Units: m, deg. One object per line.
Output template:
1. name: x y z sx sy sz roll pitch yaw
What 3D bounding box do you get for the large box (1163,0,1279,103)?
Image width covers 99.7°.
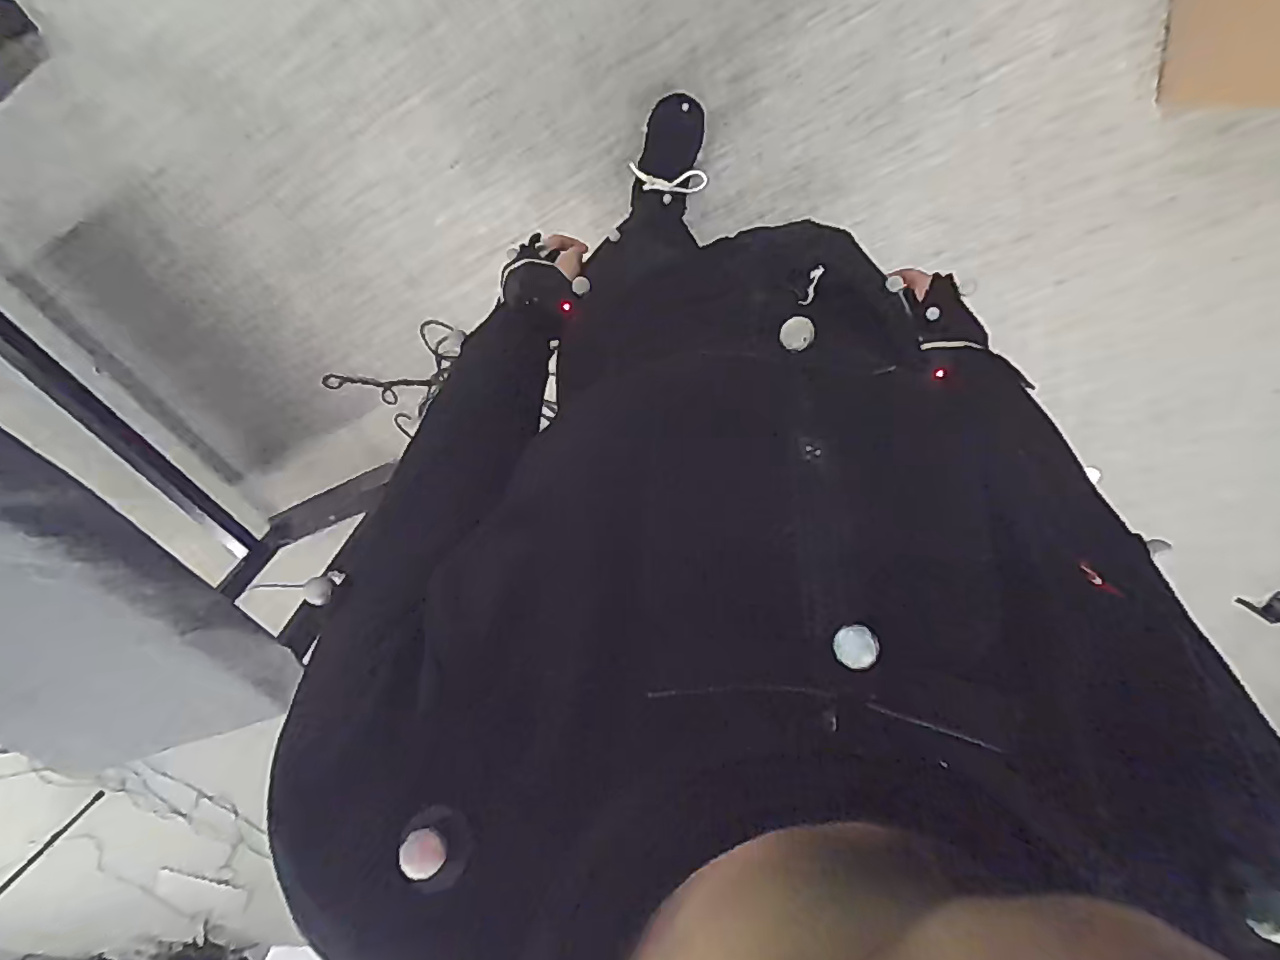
1. large box: 1.030 -0.815 0.746 0.320 0.320 0.408 -17 124 15
